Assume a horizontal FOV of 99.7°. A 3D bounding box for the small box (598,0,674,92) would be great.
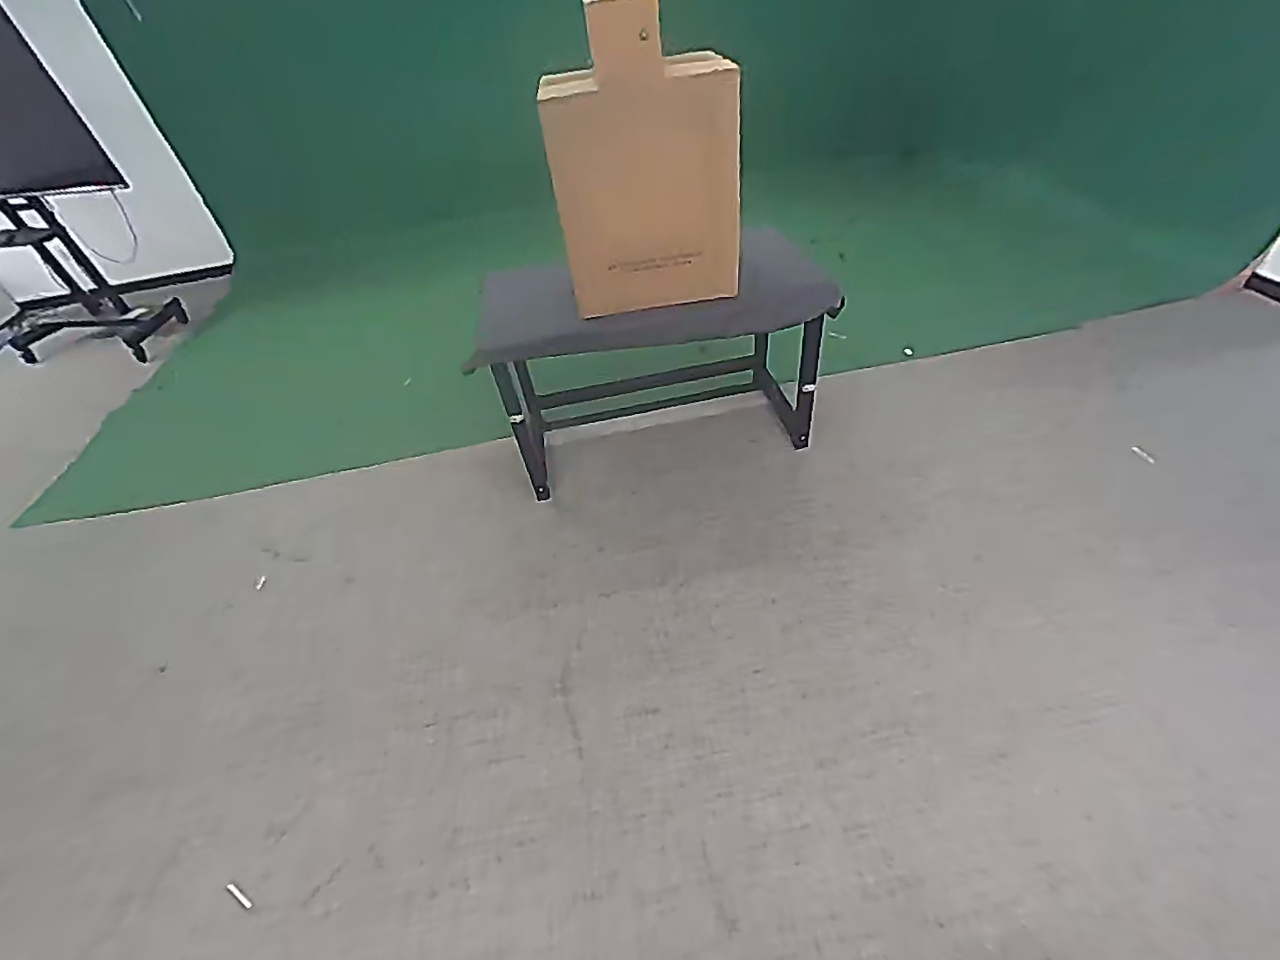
[{"bbox_3d":[-0.009,-1.144,1.416,0.179,0.176,0.168,-10,45,1],"label":"small box"}]
